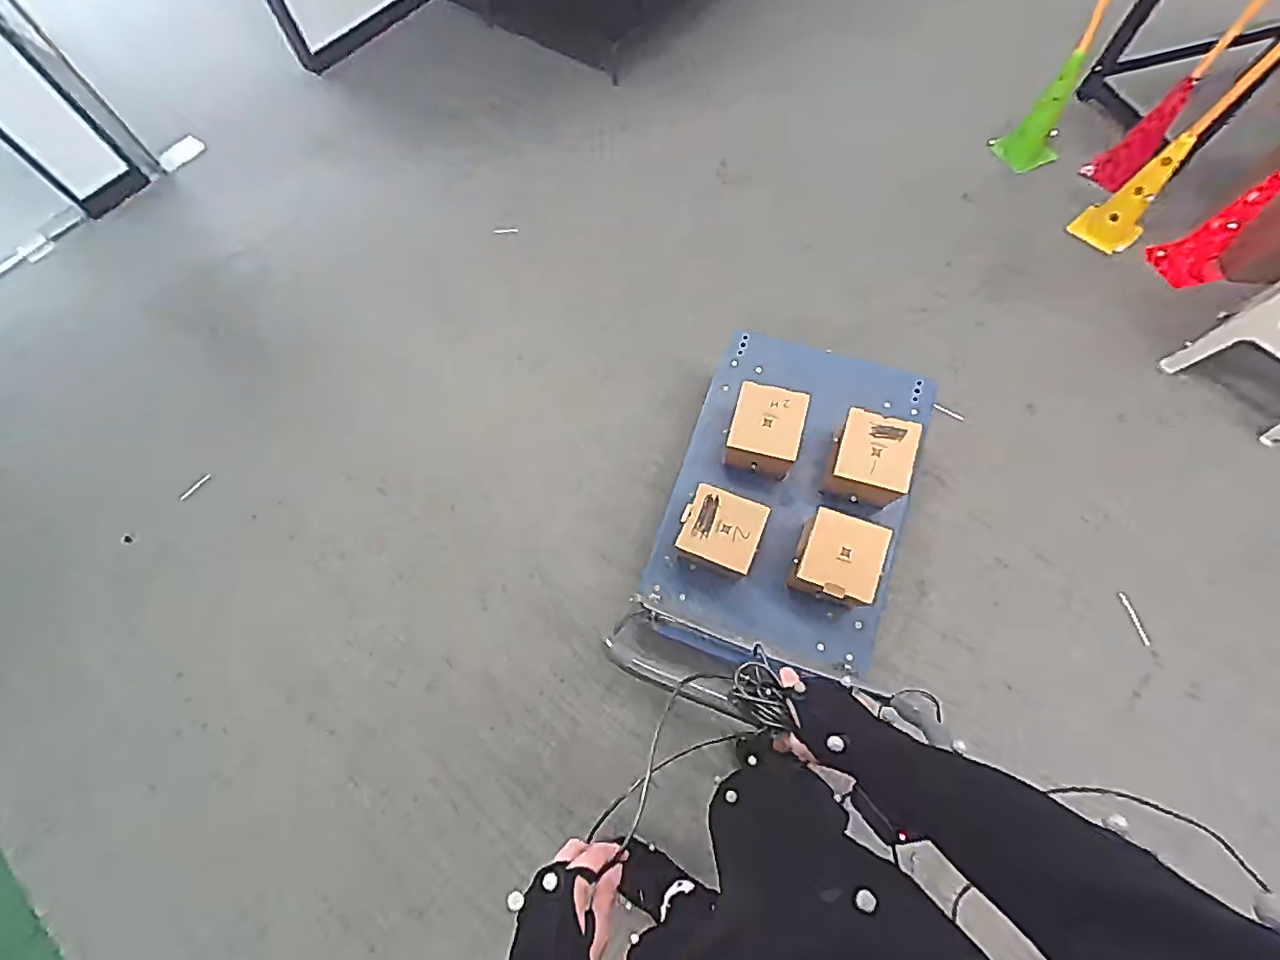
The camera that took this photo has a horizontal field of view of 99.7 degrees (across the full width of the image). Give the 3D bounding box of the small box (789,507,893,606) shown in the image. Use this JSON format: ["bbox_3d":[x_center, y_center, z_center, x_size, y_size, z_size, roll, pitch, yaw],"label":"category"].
[{"bbox_3d":[0.461,0.185,1.267,0.168,0.176,0.179,20,79,11],"label":"small box"}]

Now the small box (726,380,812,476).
[{"bbox_3d":[0.318,-0.124,1.361,0.168,0.176,0.179,15,78,9],"label":"small box"}]

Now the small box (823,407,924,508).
[{"bbox_3d":[0.559,-0.049,1.315,0.168,0.176,0.179,17,79,11],"label":"small box"}]
